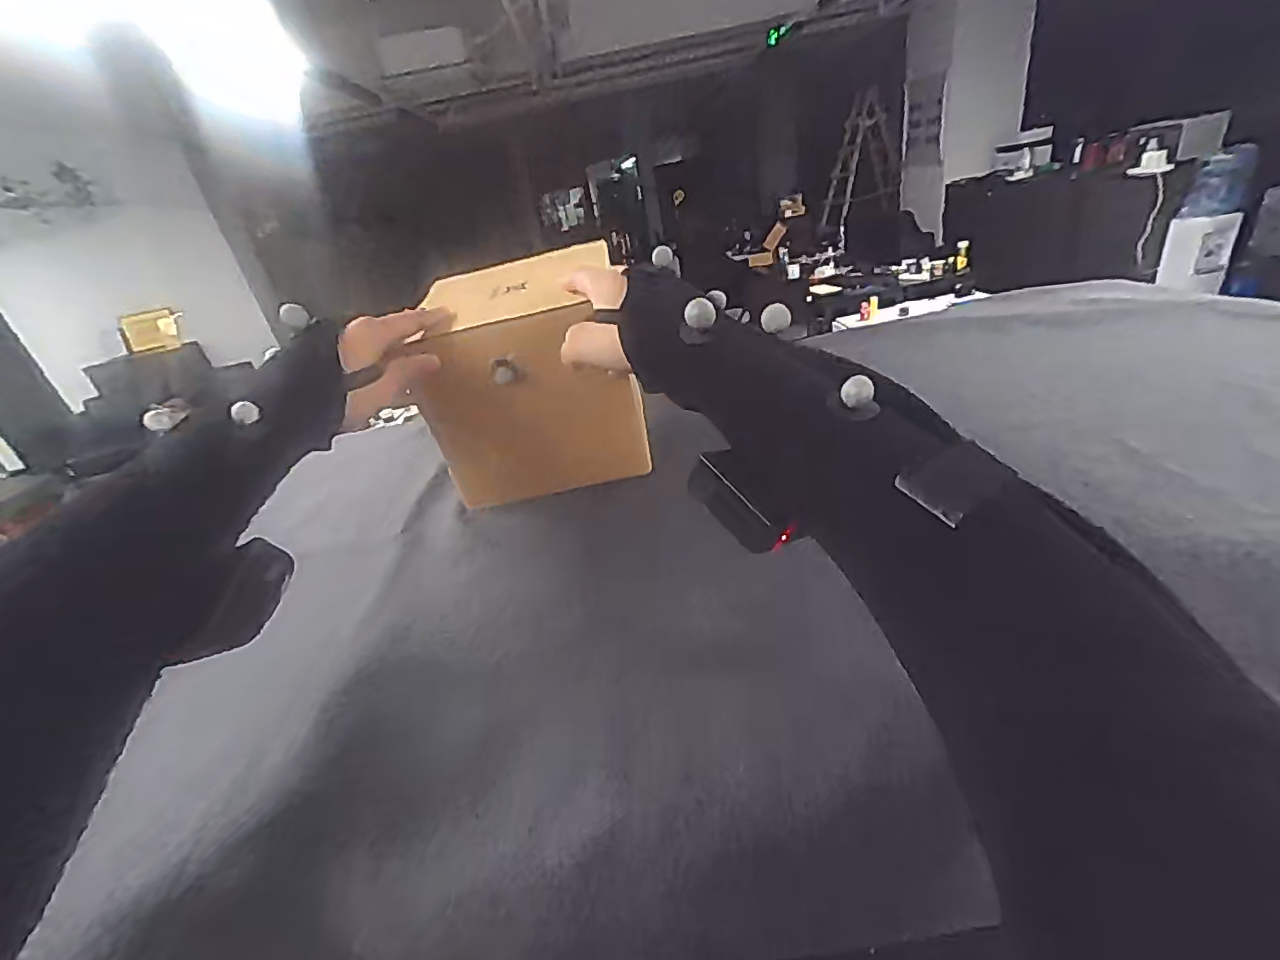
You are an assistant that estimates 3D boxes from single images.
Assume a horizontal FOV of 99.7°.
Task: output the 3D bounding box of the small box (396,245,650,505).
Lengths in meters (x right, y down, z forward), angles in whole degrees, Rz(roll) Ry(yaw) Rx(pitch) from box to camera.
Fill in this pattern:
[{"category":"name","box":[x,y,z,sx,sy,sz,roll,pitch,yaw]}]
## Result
[{"category":"small box","box":[-0.088,-0.099,0.510,0.179,0.176,0.168,-11,36,4]}]
